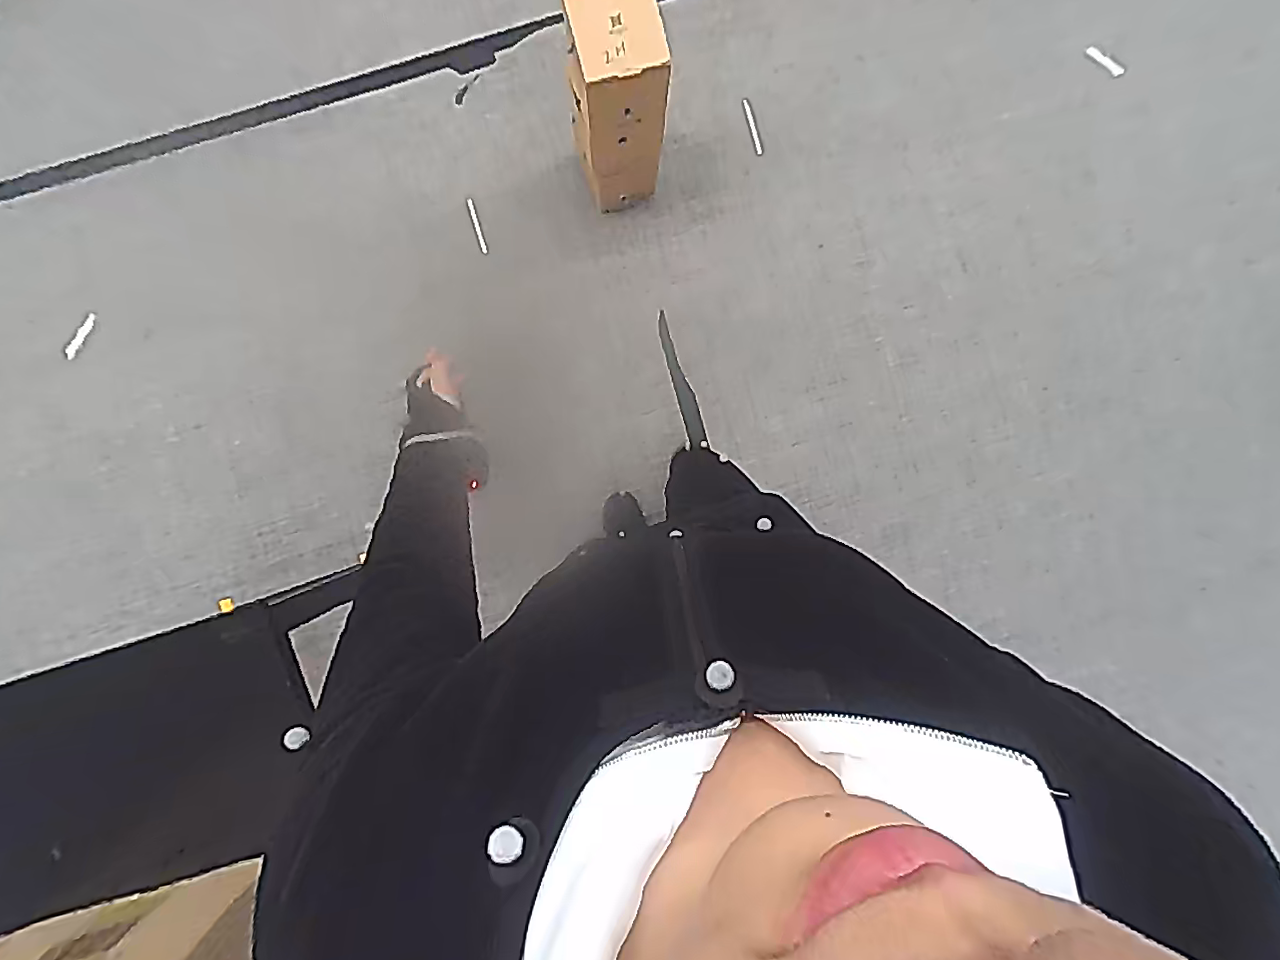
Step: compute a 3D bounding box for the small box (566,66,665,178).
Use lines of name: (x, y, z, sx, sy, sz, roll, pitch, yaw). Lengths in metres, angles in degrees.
small box: (-0.054, -0.822, 1.224, 0.179, 0.176, 0.168, -18, 92, -2)

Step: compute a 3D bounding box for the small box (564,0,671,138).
small box: (-0.045, -0.820, 1.060, 0.168, 0.176, 0.179, -15, 93, -1)

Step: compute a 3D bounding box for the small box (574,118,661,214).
small box: (-0.059, -0.826, 1.389, 0.168, 0.176, 0.179, -23, 94, -1)
